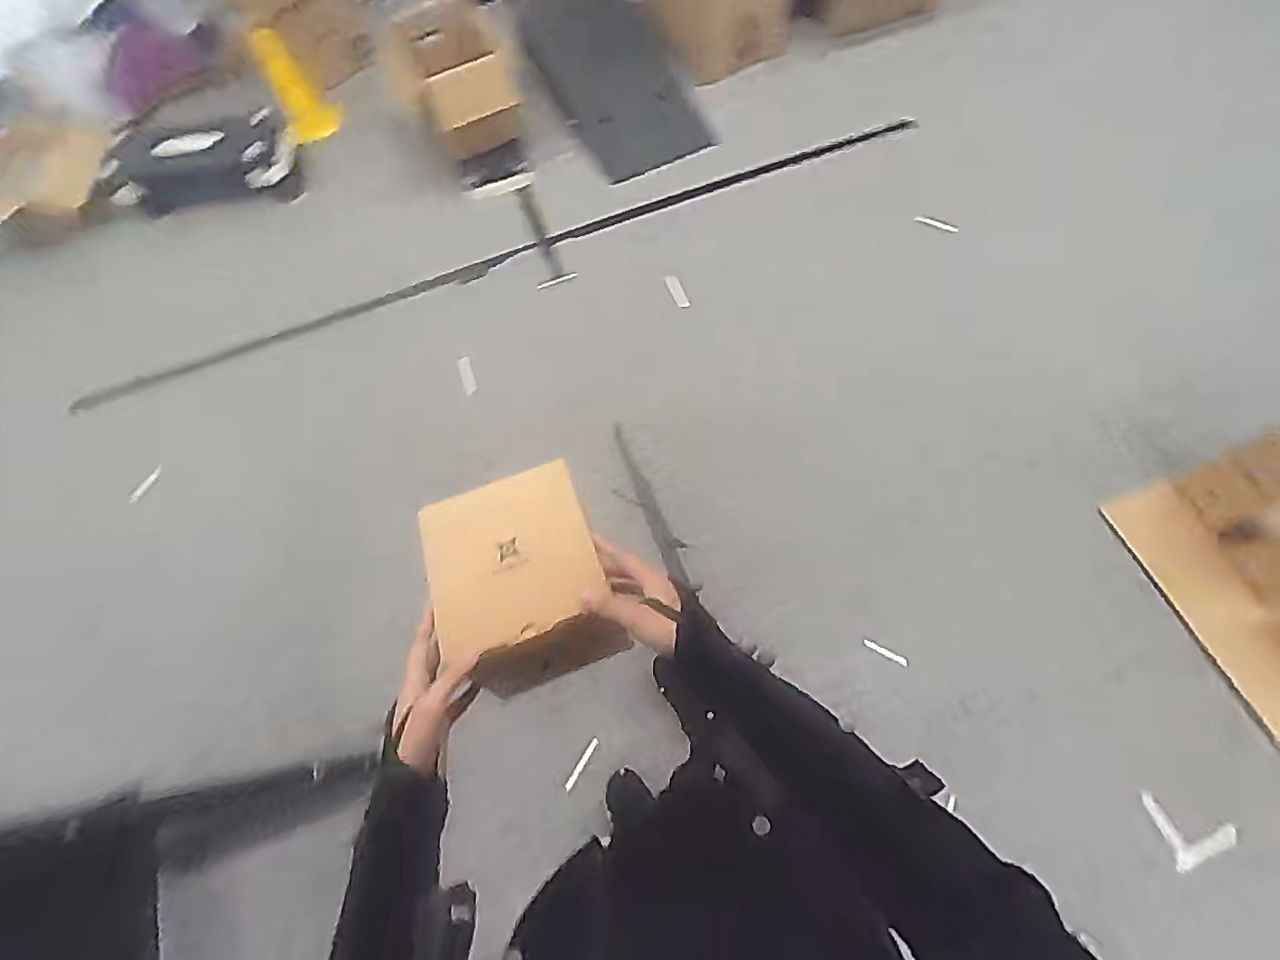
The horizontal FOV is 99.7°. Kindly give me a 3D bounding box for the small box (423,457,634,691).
[{"bbox_3d":[-0.115,0.109,0.595,0.168,0.176,0.179,-20,60,-5],"label":"small box"}]

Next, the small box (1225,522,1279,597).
[{"bbox_3d":[1.712,0.189,1.399,0.179,0.176,0.168,-18,68,-4],"label":"small box"}]
